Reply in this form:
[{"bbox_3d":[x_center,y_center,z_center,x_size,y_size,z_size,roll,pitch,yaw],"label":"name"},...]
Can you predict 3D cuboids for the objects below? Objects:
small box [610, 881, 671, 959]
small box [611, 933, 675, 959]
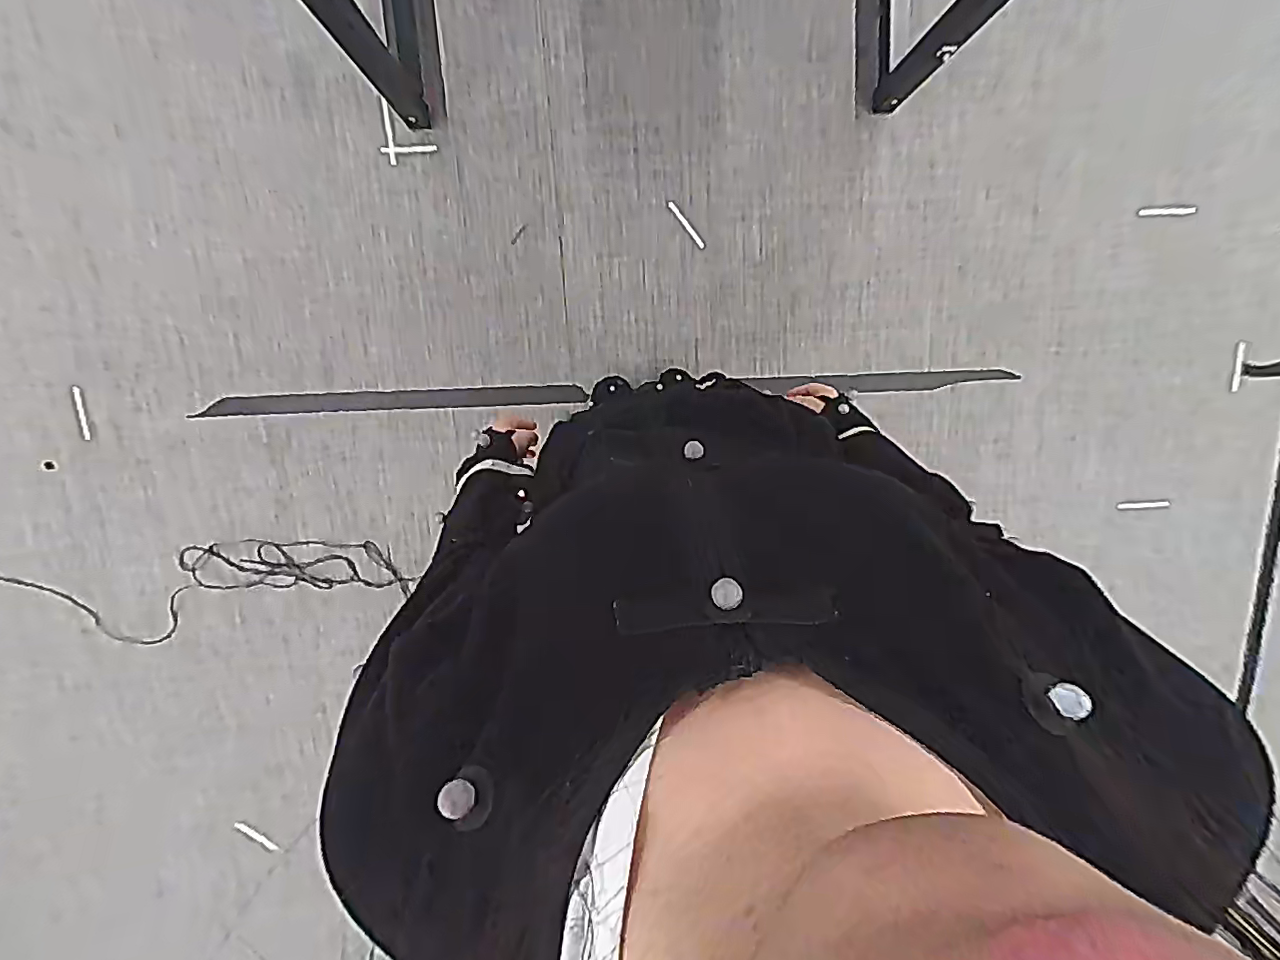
[{"bbox_3d":[-0.003,1.407,1.709,0.179,0.176,0.168,3,101,-4],"label":"small box"},{"bbox_3d":[0.008,1.447,1.550,0.179,0.176,0.168,6,100,-5],"label":"small box"}]
